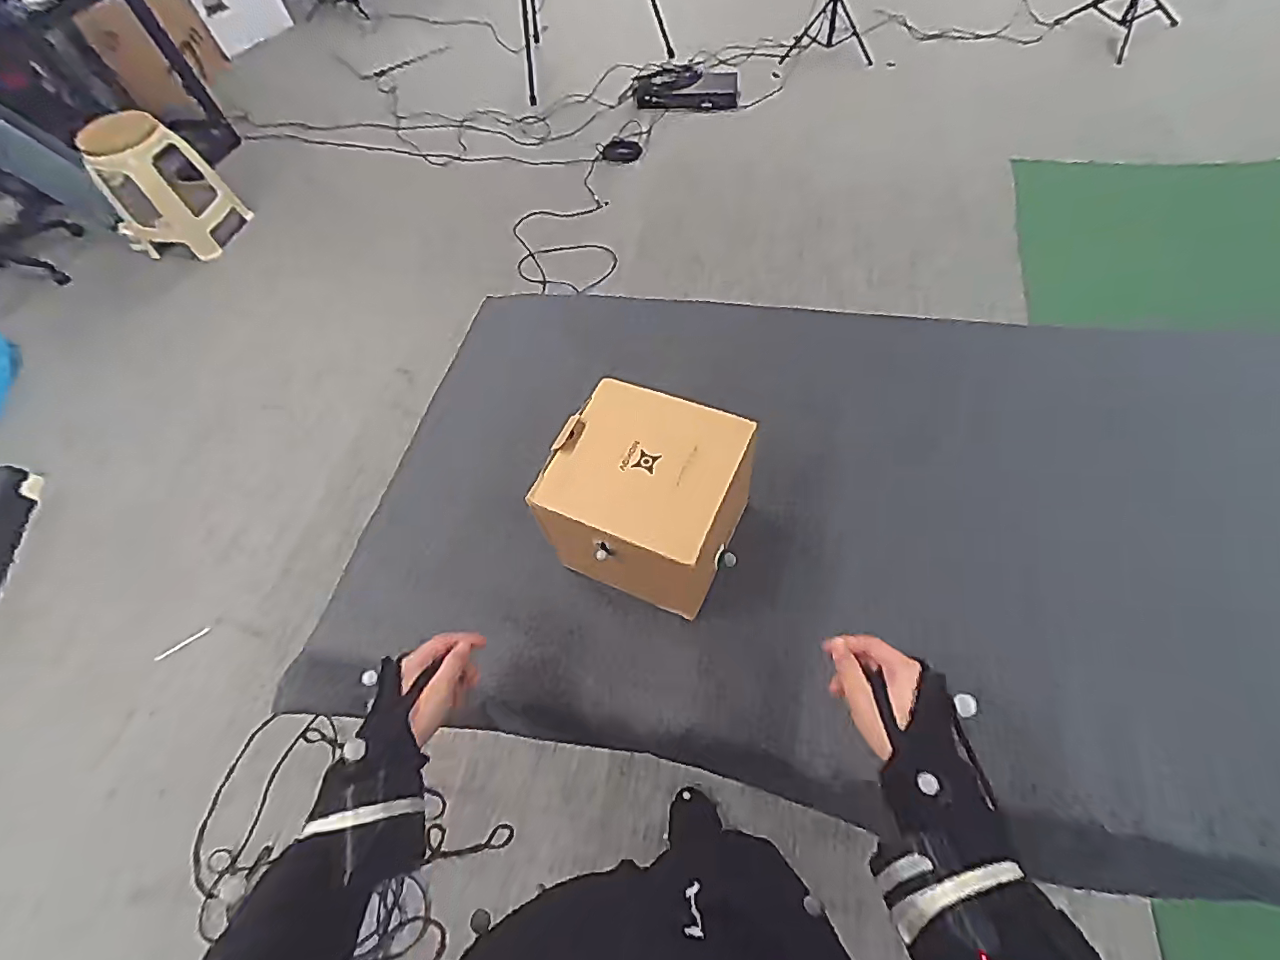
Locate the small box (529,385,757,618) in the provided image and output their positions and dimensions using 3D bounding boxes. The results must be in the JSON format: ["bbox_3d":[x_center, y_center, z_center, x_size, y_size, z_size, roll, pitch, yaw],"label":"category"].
[{"bbox_3d":[0.012,0.029,0.589,0.179,0.176,0.168,20,63,17],"label":"small box"}]
